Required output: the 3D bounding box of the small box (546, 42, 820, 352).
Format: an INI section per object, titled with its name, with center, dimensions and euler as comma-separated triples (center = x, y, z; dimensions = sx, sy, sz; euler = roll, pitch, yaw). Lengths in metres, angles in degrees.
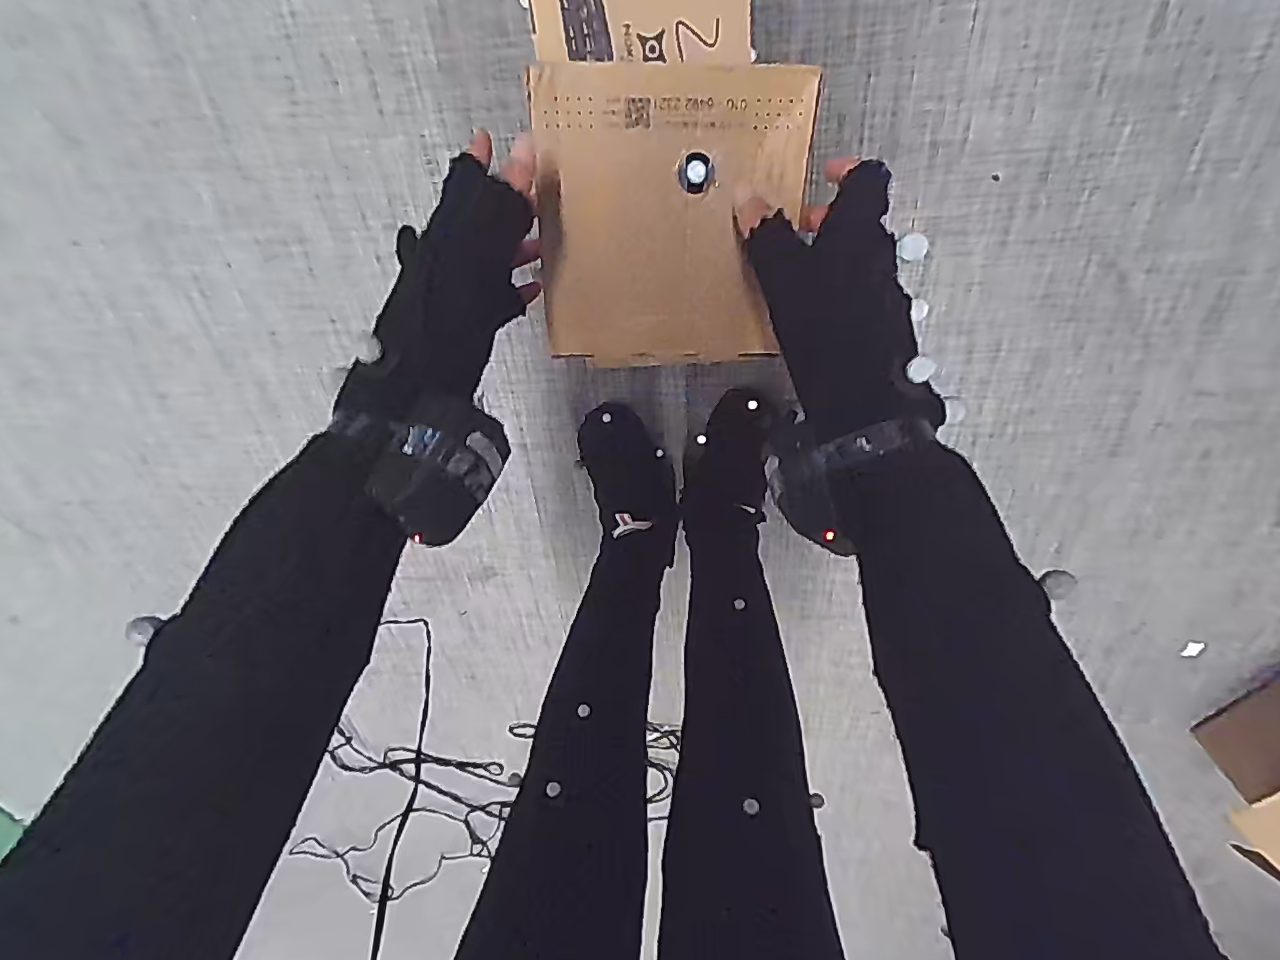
[small box]
center = 0.022, -0.205, 0.411
dimensions = 0.168, 0.179, 0.176
euler = 0, 119, -2
